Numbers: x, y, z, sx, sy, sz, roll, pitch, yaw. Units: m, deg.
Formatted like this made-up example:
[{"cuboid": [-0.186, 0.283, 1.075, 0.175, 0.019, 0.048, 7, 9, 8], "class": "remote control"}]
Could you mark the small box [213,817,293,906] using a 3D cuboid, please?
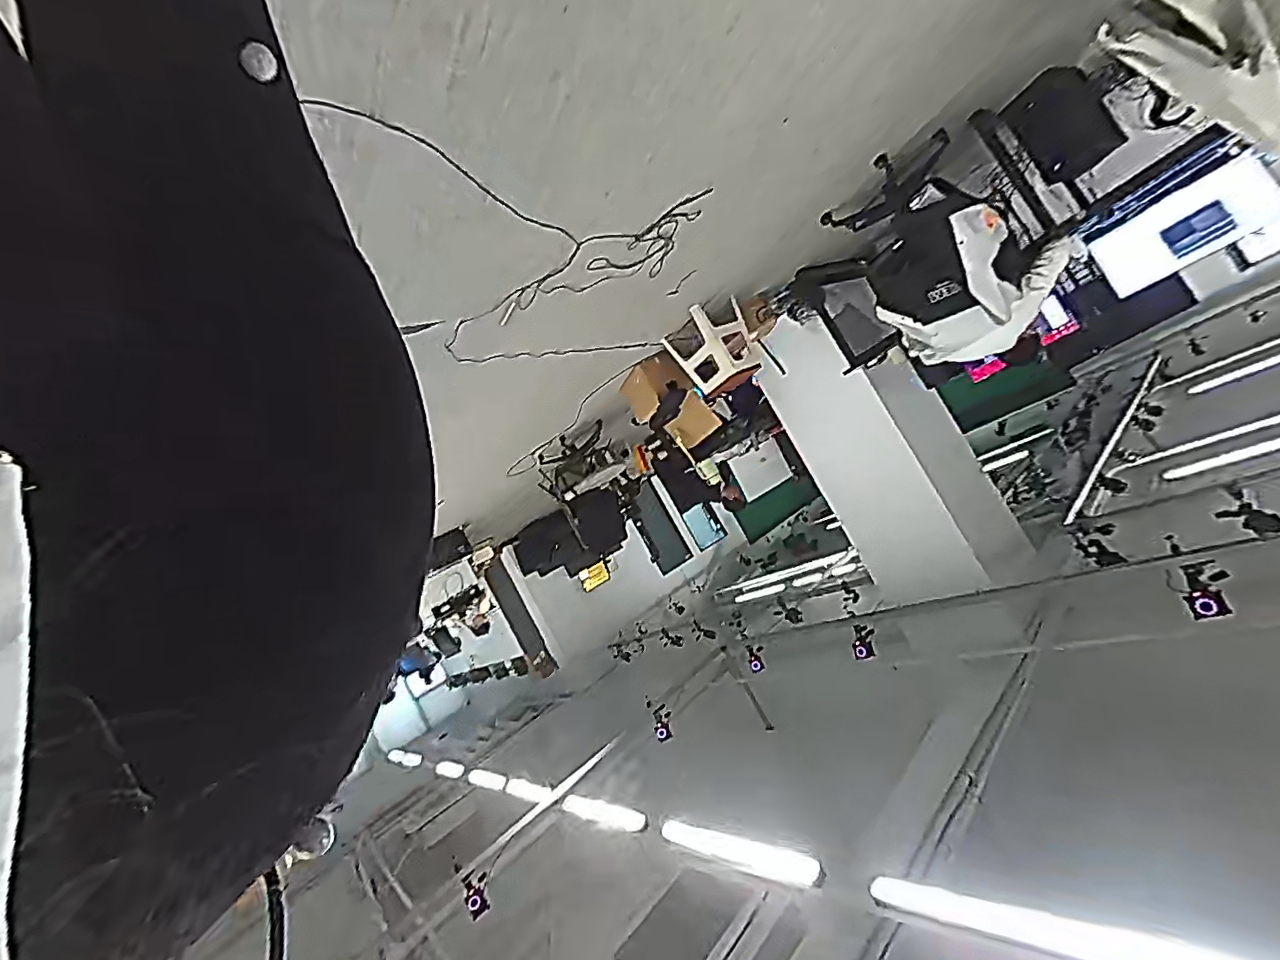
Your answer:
[{"cuboid": [-1.287, 1.262, 1.807, 0.168, 0.176, 0.179, -25, 172, -34], "class": "small box"}]
